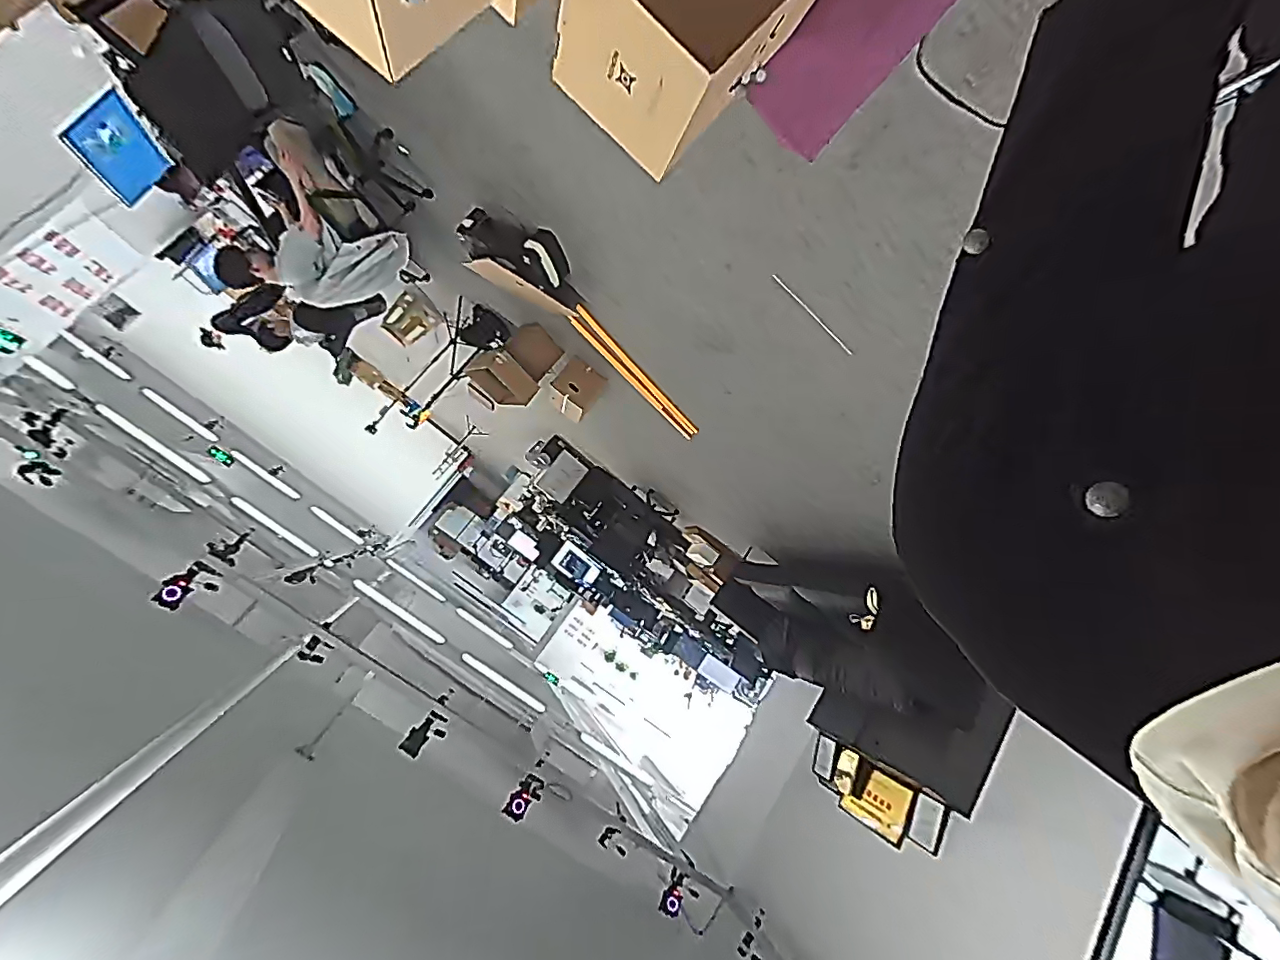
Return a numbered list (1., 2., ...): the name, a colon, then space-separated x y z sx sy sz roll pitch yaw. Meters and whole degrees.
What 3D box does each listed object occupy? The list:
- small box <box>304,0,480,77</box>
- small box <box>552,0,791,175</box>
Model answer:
1. small box: -0.245 -0.537 0.488 0.168 0.176 0.179 38 164 -7
2. small box: 0.031 -0.503 0.607 0.179 0.176 0.168 39 165 -10
